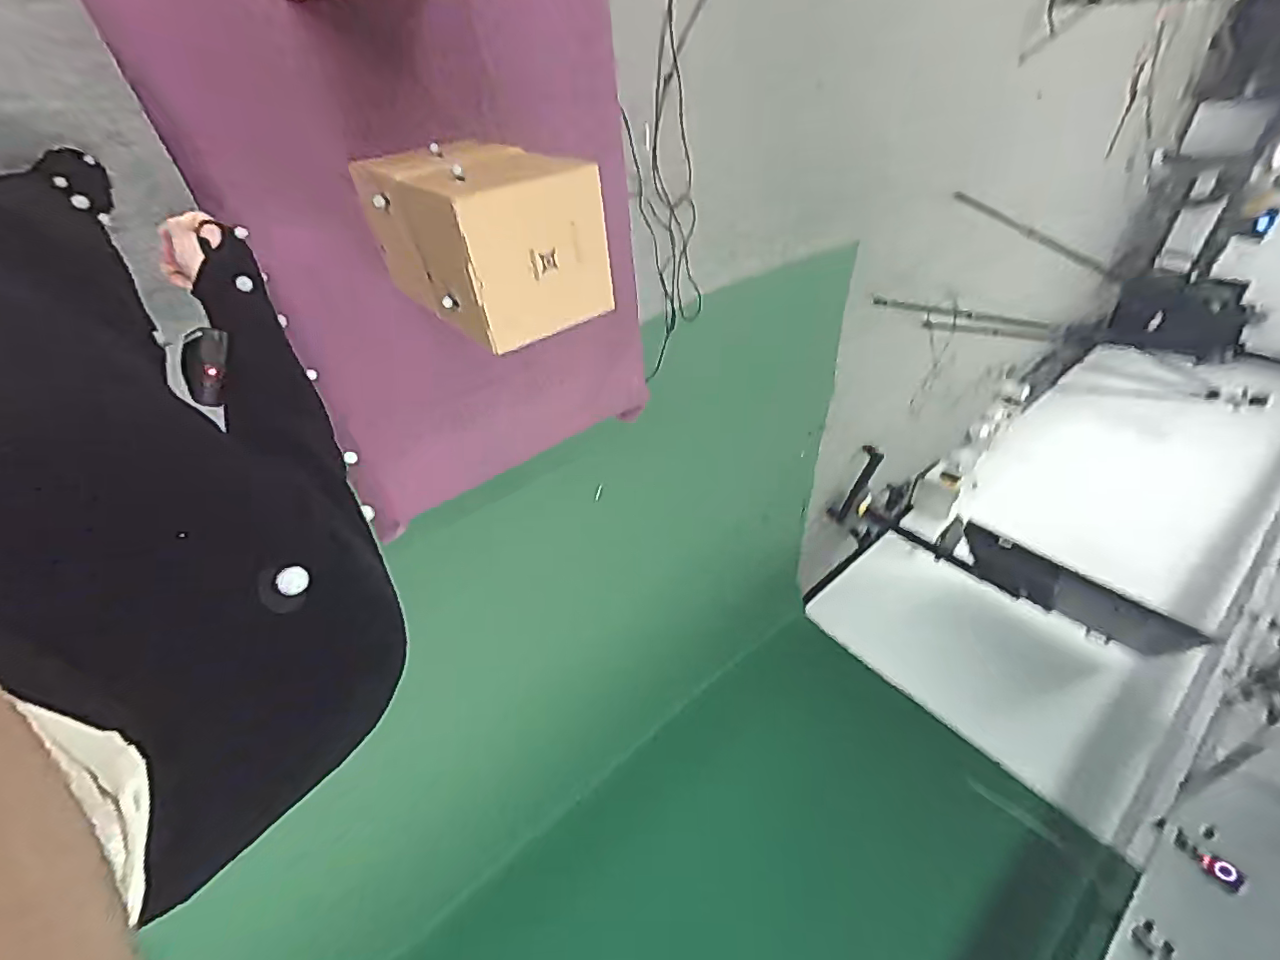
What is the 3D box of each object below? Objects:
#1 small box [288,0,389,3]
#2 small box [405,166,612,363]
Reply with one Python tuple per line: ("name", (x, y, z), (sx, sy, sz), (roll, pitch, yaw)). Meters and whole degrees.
("small box", (-0.286, -0.593, 0.537), (0.179, 0.176, 0.168), (-31, 136, -27))
("small box", (-0.158, -0.266, 0.649), (0.179, 0.176, 0.168), (-31, 136, -28))
